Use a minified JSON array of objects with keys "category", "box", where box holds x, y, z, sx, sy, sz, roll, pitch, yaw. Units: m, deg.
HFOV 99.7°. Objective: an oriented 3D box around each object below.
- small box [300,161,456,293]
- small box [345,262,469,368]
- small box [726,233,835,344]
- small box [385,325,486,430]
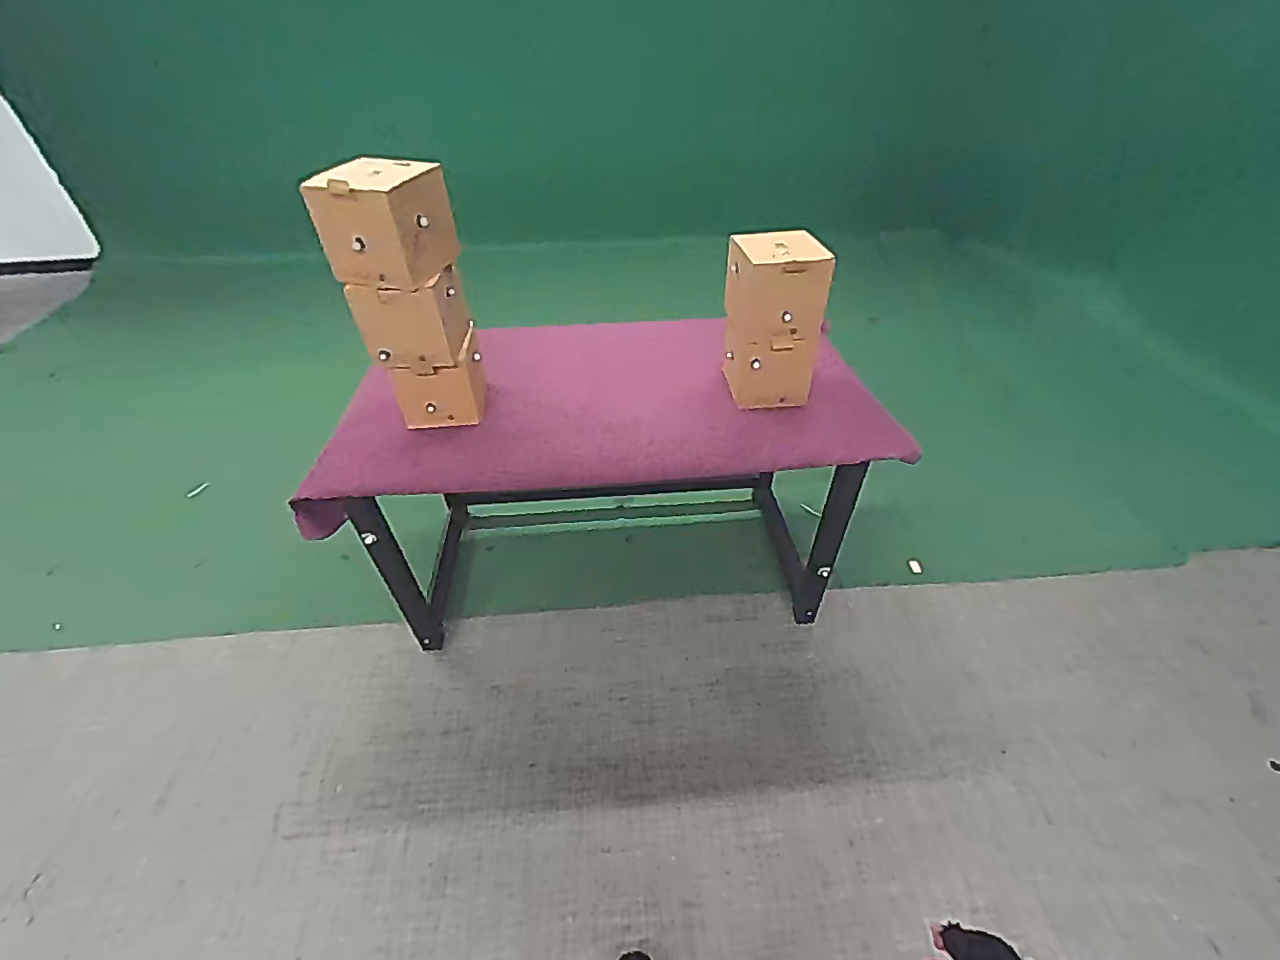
[{"category":"small box","box":[-0.461,-0.461,0.989,0.168,0.176,0.179,11,47,11]},{"category":"small box","box":[-0.460,-0.341,1.100,0.168,0.176,0.179,-1,43,-1]},{"category":"small box","box":[0.286,-0.406,1.147,0.168,0.176,0.179,-6,43,-5]},{"category":"small box","box":[-0.451,-0.233,1.226,0.168,0.176,0.179,-5,44,-5]}]
